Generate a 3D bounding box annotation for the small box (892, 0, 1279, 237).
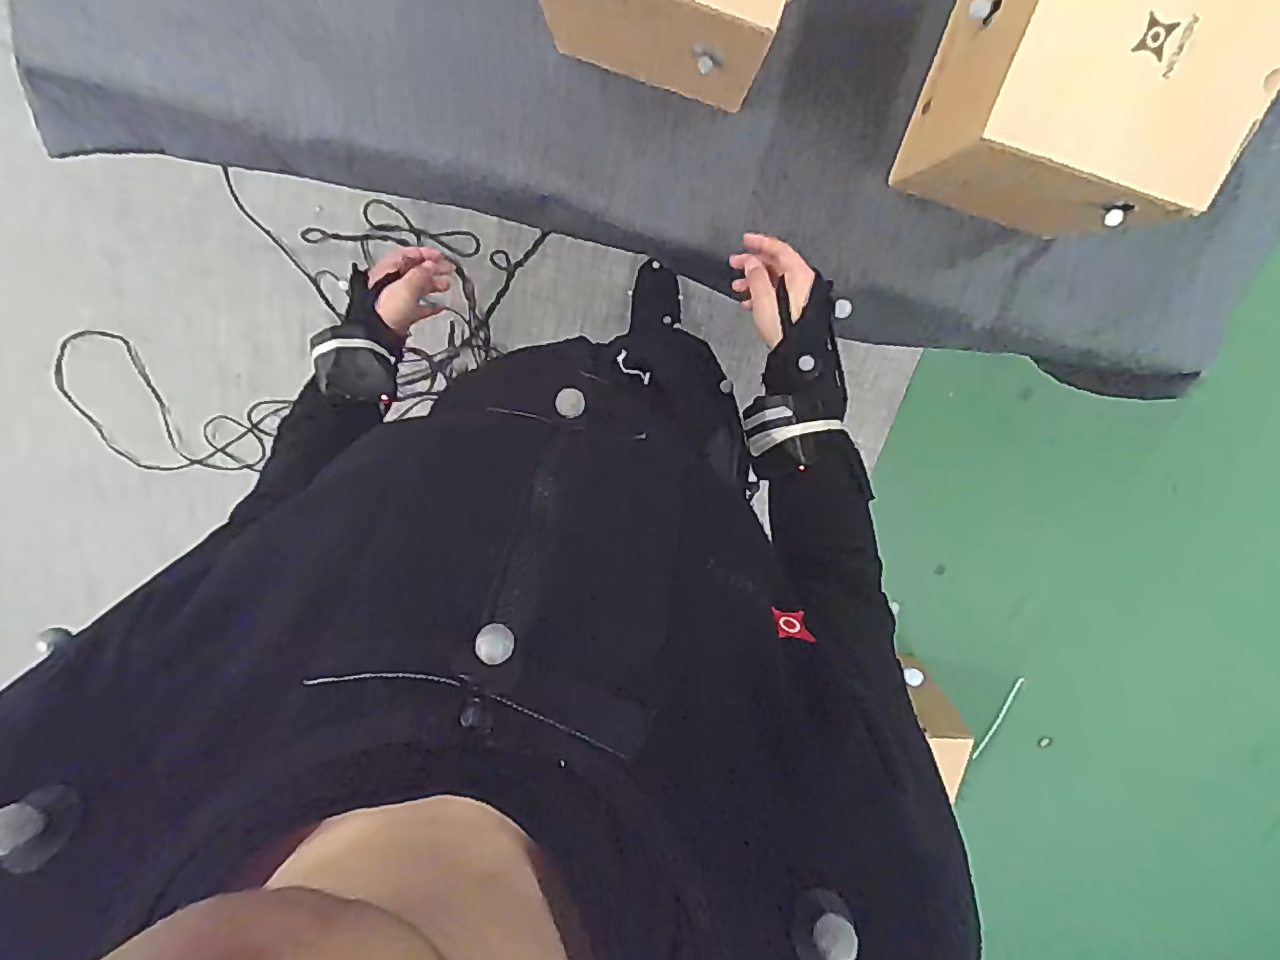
[{"bbox_3d":[0.336,-0.304,0.426,0.179,0.176,0.168,15,108,-4],"label":"small box"}]
